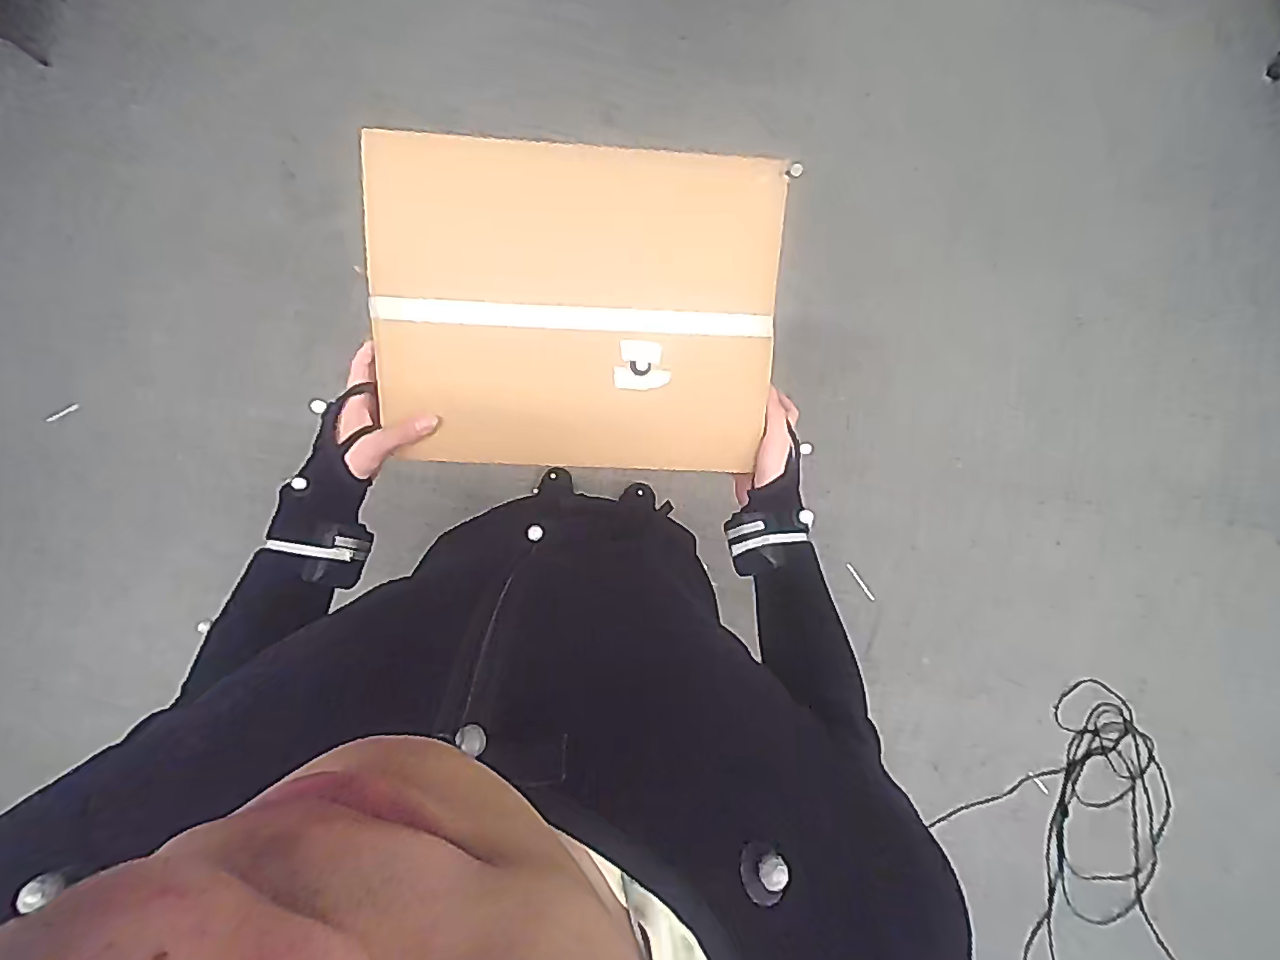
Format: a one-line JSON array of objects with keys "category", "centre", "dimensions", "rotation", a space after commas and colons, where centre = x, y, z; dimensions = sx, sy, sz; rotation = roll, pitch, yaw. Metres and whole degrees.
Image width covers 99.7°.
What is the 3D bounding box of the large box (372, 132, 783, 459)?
[{"category": "large box", "centre": [-0.072, -0.210, 0.699], "dimensions": [0.408, 0.320, 0.320], "rotation": [2, 105, -5]}]
